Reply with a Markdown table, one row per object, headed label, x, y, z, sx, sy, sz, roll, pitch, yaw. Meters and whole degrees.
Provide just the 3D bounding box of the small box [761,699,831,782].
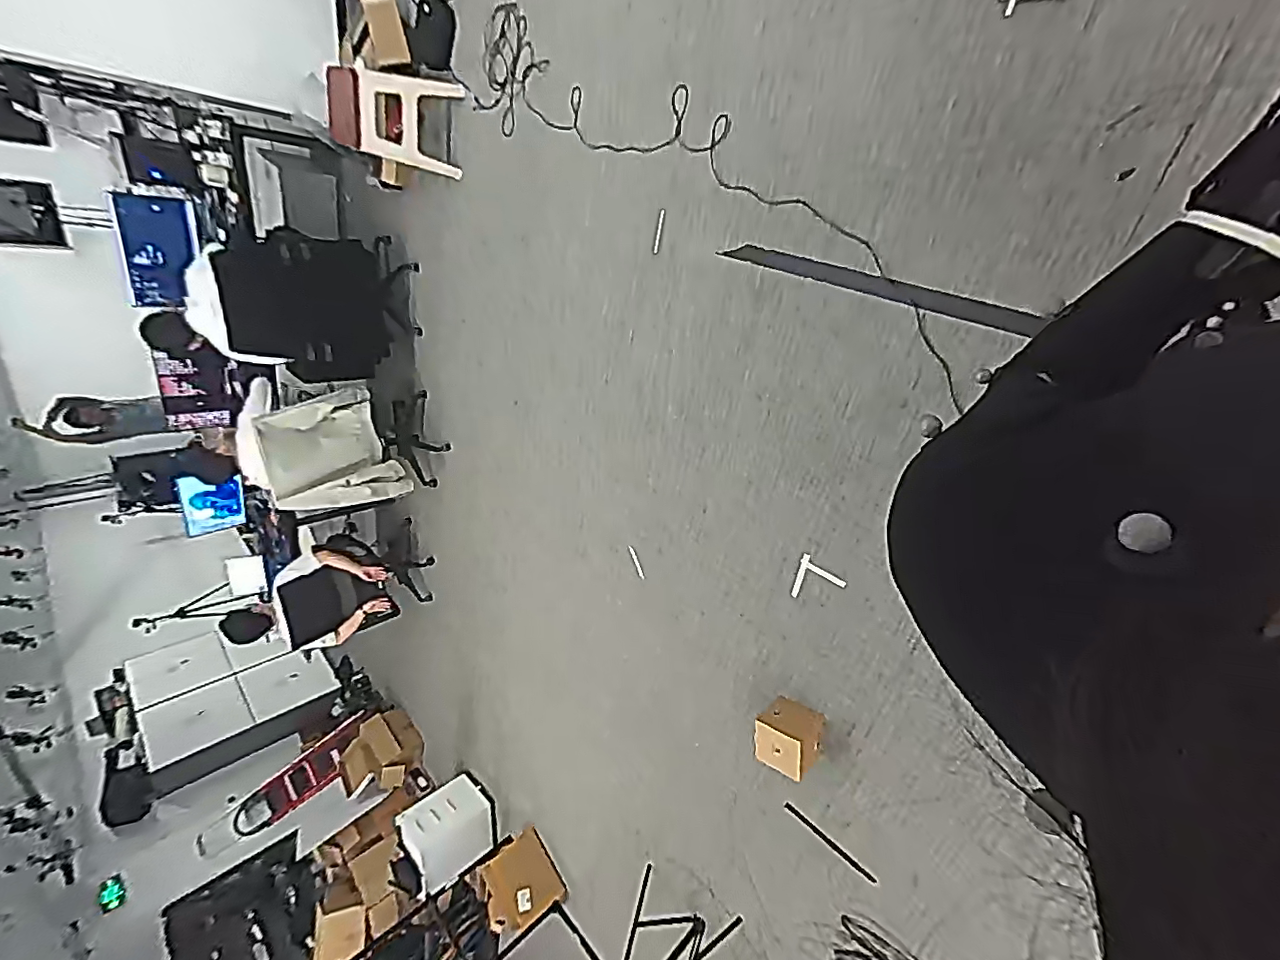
| label | x | y | z | sx | sy | sz | roll | pitch | yaw |
| --- | --- | --- | --- | --- | --- | --- | --- | --- | --- |
| small box | 0.540 | 0.891 | 1.870 | 0.179 | 0.176 | 0.168 | 10 | 110 | 43 |
